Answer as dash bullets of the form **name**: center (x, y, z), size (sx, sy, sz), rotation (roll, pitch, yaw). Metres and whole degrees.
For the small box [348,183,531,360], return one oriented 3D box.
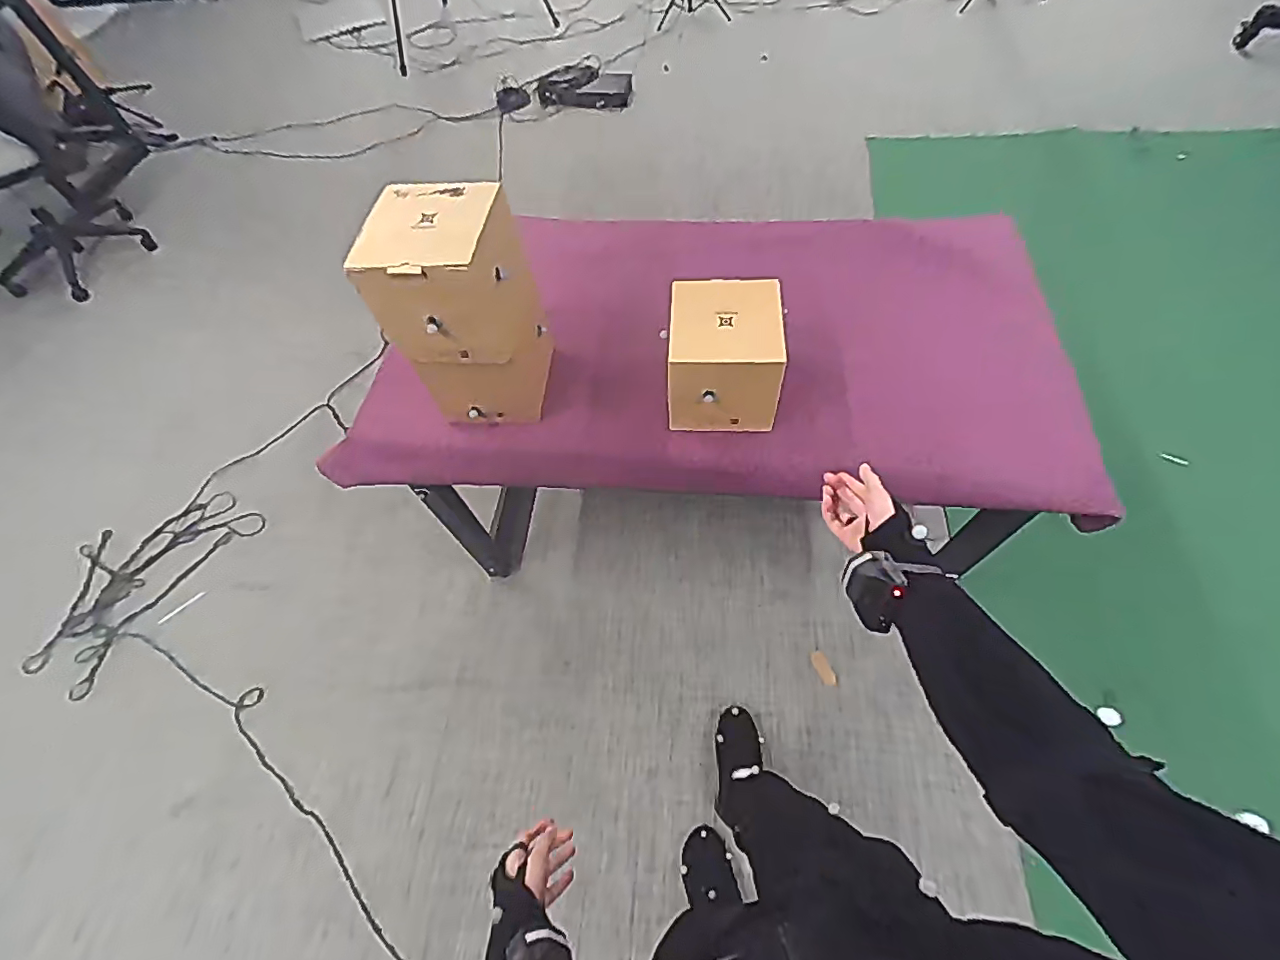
- **small box**: center (-0.264, -0.287, 0.763), size (0.168, 0.176, 0.179), rotation (3, 60, 7)

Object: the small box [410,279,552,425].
- **small box**: center (-0.252, -0.213, 0.909), size (0.168, 0.176, 0.179), rotation (1, 60, 6)

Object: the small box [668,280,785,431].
- **small box**: center (0.134, -0.192, 0.865), size (0.168, 0.176, 0.179), rotation (1, 58, 6)
